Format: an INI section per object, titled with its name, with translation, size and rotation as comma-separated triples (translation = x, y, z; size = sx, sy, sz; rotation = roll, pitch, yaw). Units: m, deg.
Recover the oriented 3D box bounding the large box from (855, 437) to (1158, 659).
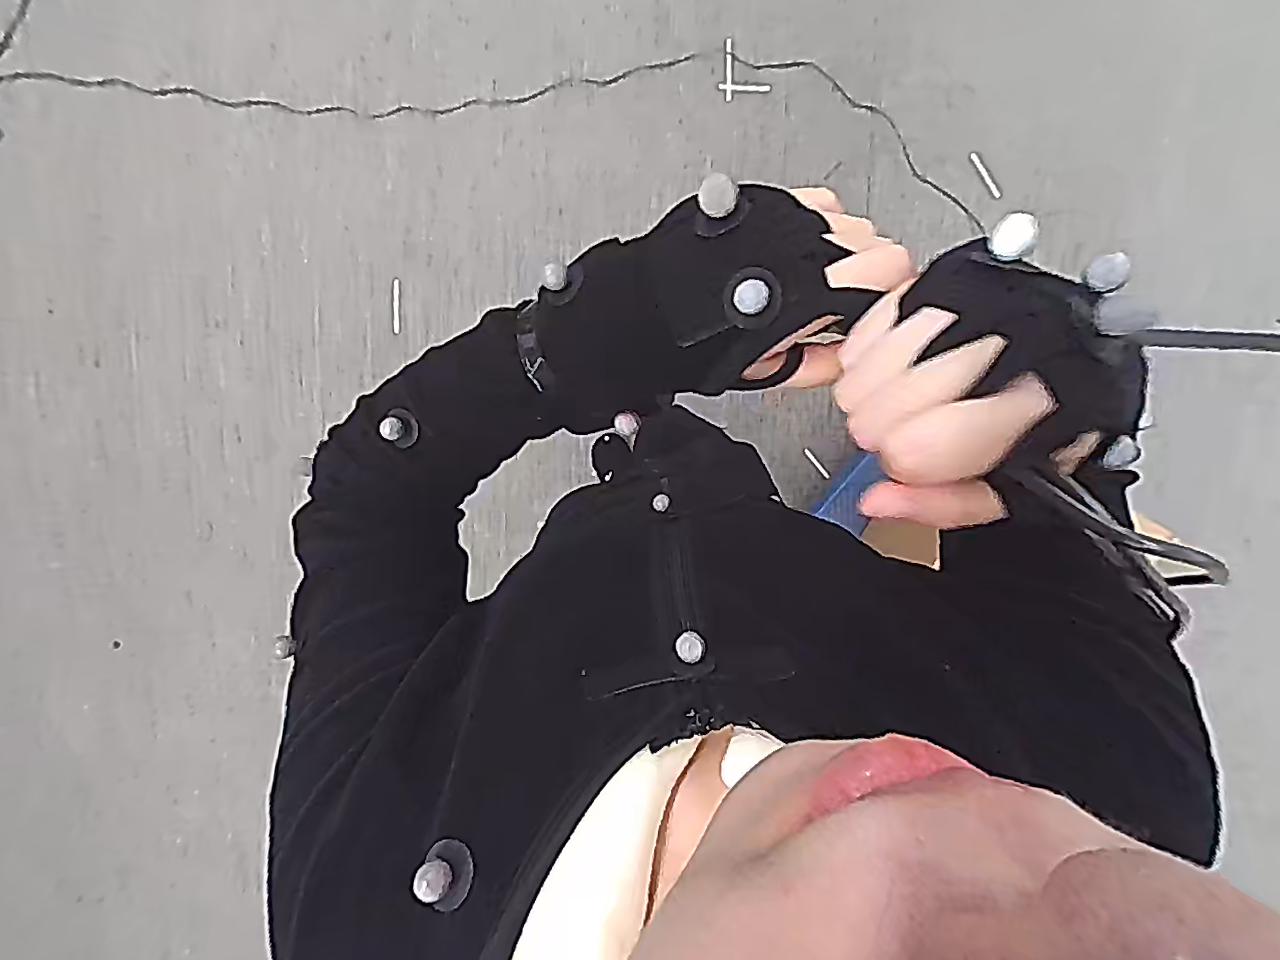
[large box]
translation = 0.784, 0.127, 1.217
size = 0.408, 0.320, 0.320
rotation = 29, 93, -6
